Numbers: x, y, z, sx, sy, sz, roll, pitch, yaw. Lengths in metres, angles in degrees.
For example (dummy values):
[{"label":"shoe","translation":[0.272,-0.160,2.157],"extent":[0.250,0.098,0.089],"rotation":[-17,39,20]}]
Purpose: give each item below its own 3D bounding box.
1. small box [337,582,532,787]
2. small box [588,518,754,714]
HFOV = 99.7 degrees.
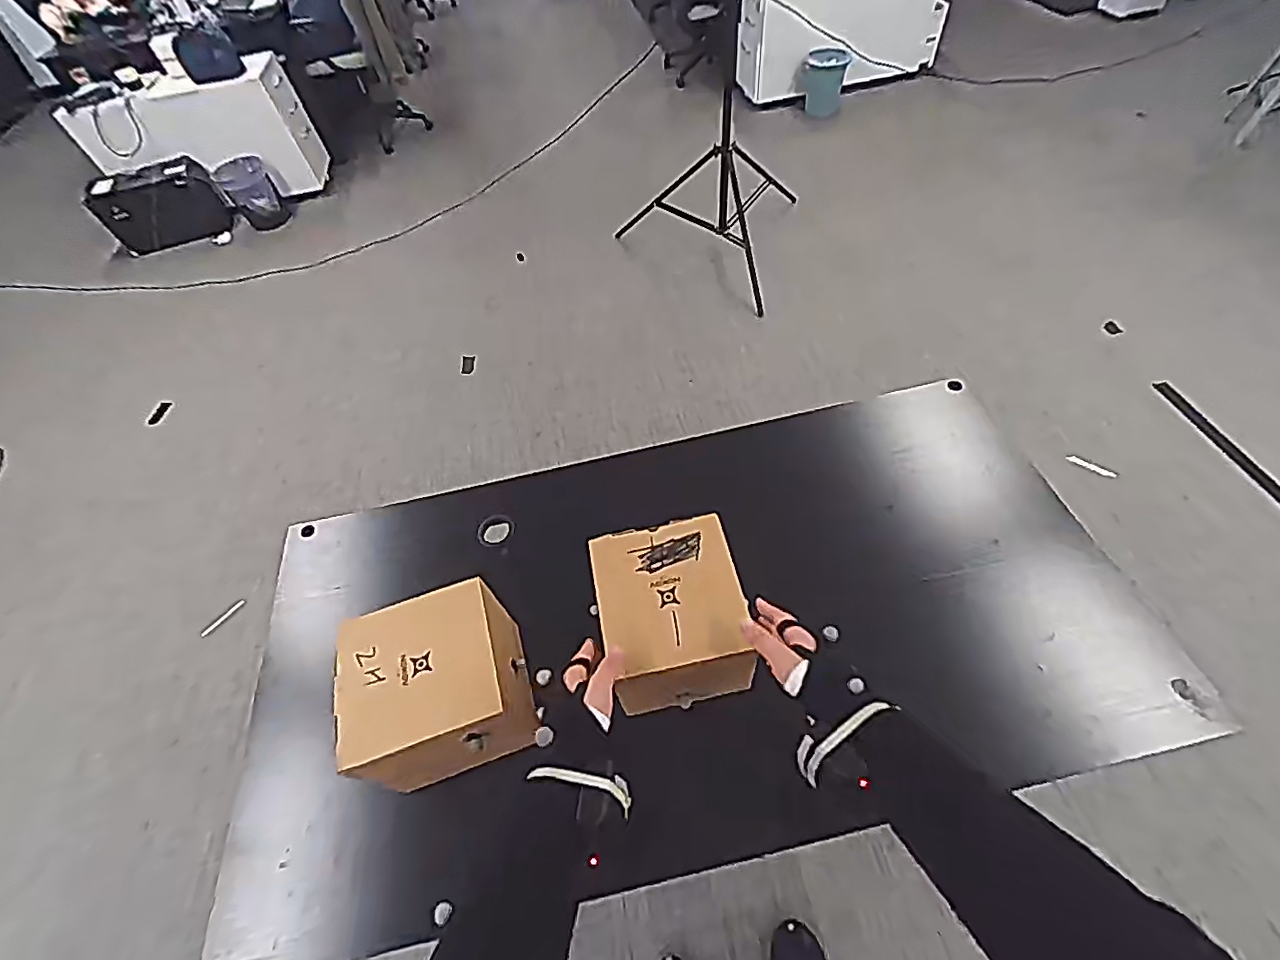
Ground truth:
[{"label":"small box","translation":[-0.242,0.255,0.666],"extent":[0.179,0.176,0.168],"rotation":[-19,55,-6]},{"label":"small box","translation":[0.035,0.177,0.689],"extent":[0.168,0.176,0.179],"rotation":[-12,55,-1]}]
